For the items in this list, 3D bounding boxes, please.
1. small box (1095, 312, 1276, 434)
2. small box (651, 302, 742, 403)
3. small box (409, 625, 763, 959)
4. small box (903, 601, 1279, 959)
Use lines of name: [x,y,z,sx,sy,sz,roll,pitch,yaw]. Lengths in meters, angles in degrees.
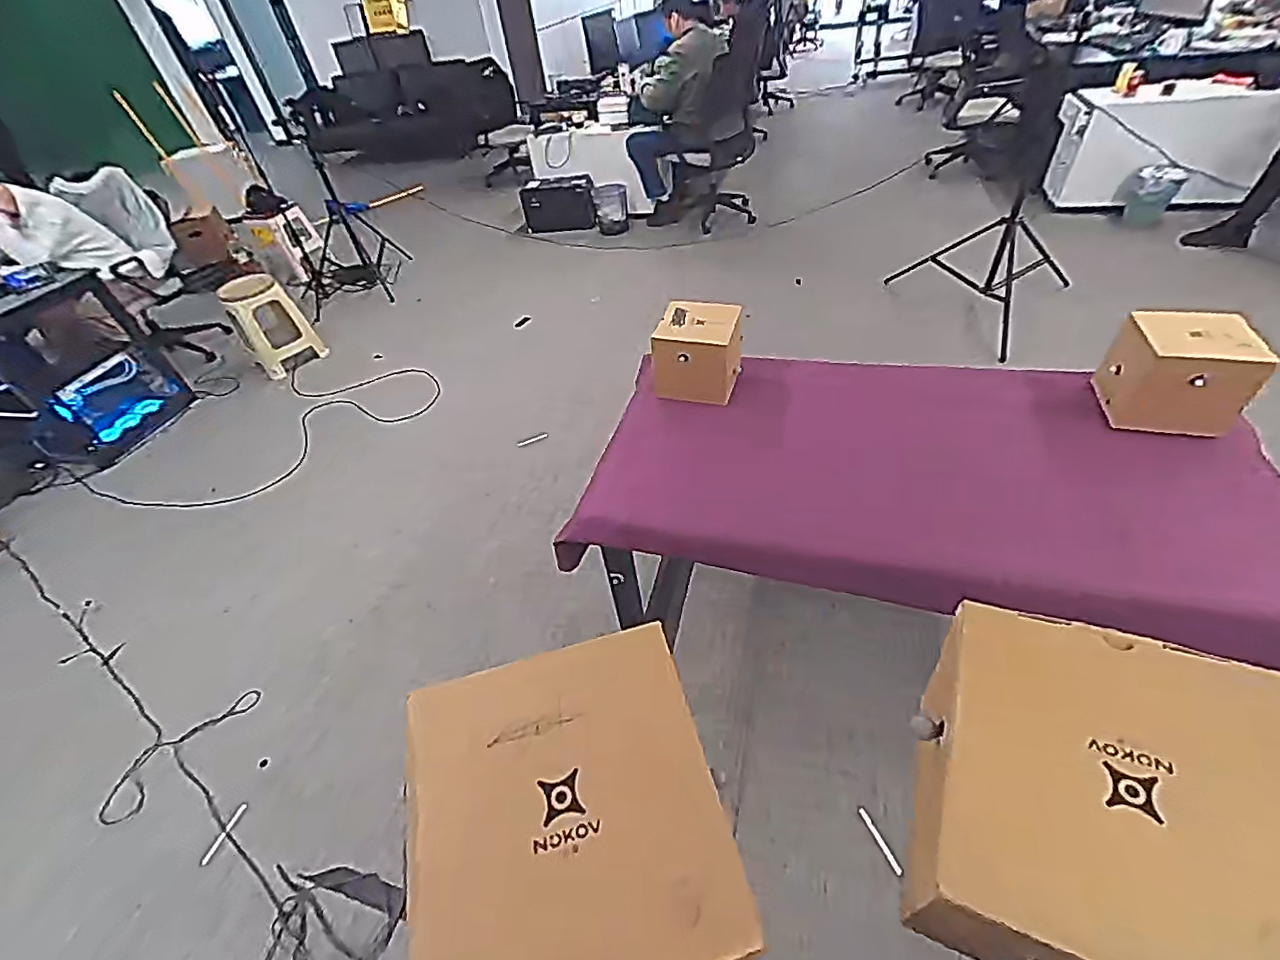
small box: [1.025,-0.205,1.043,0.179,0.176,0.168,8,47,16]
small box: [0.137,-0.300,1.278,0.179,0.176,0.168,10,49,16]
small box: [-0.039,0.229,0.354,0.168,0.176,0.179,-14,49,-11]
small box: [0.270,0.210,0.338,0.168,0.176,0.179,10,51,25]
